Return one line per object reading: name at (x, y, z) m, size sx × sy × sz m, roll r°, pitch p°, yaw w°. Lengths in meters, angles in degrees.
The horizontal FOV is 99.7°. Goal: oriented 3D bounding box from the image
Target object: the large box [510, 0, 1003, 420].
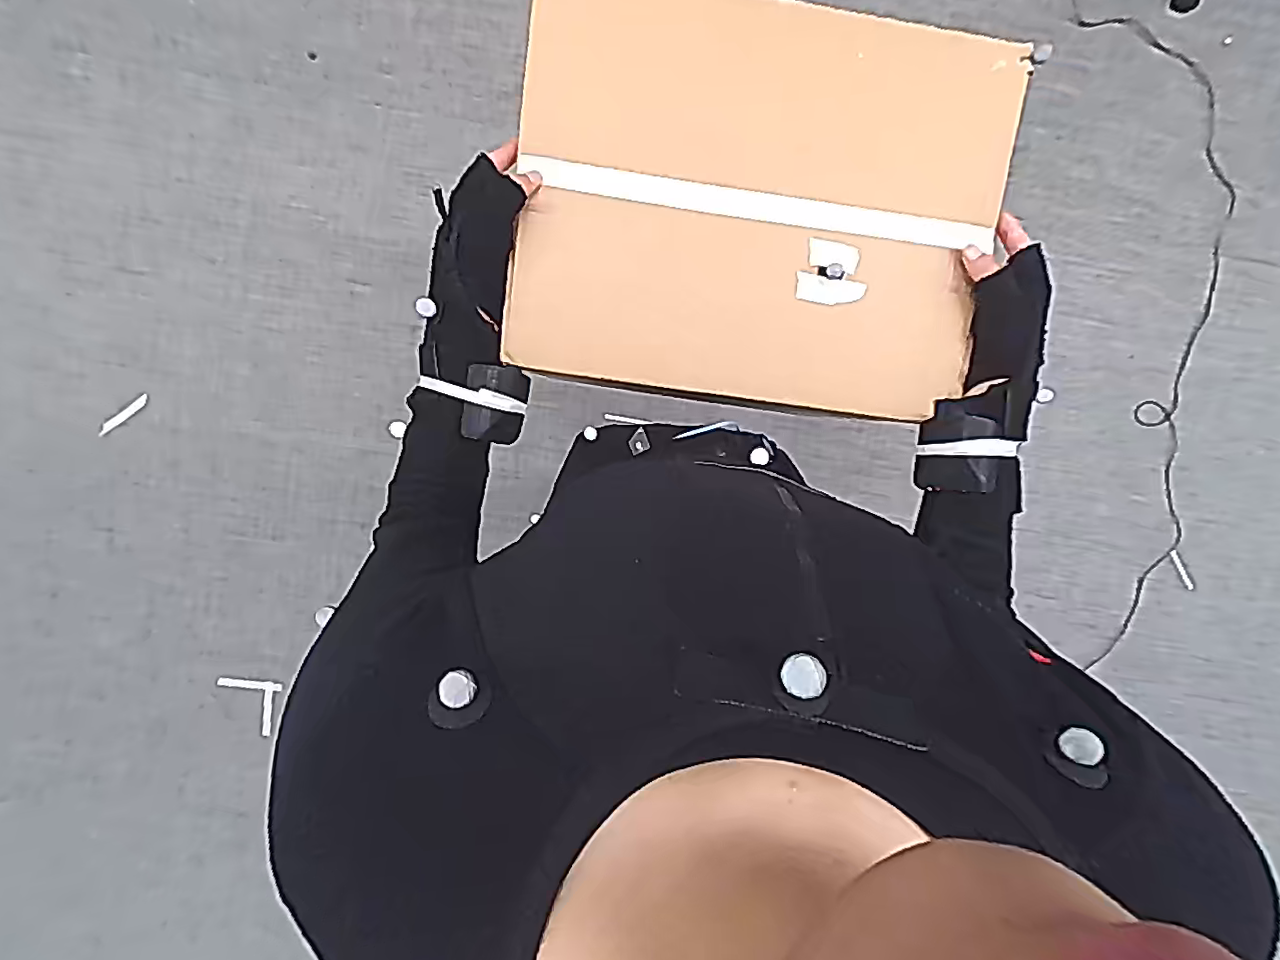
large box at (0.087, -0.248, 0.614) m, size 0.408 × 0.320 × 0.320 m, roll 7°, pitch 99°, yaw -5°
